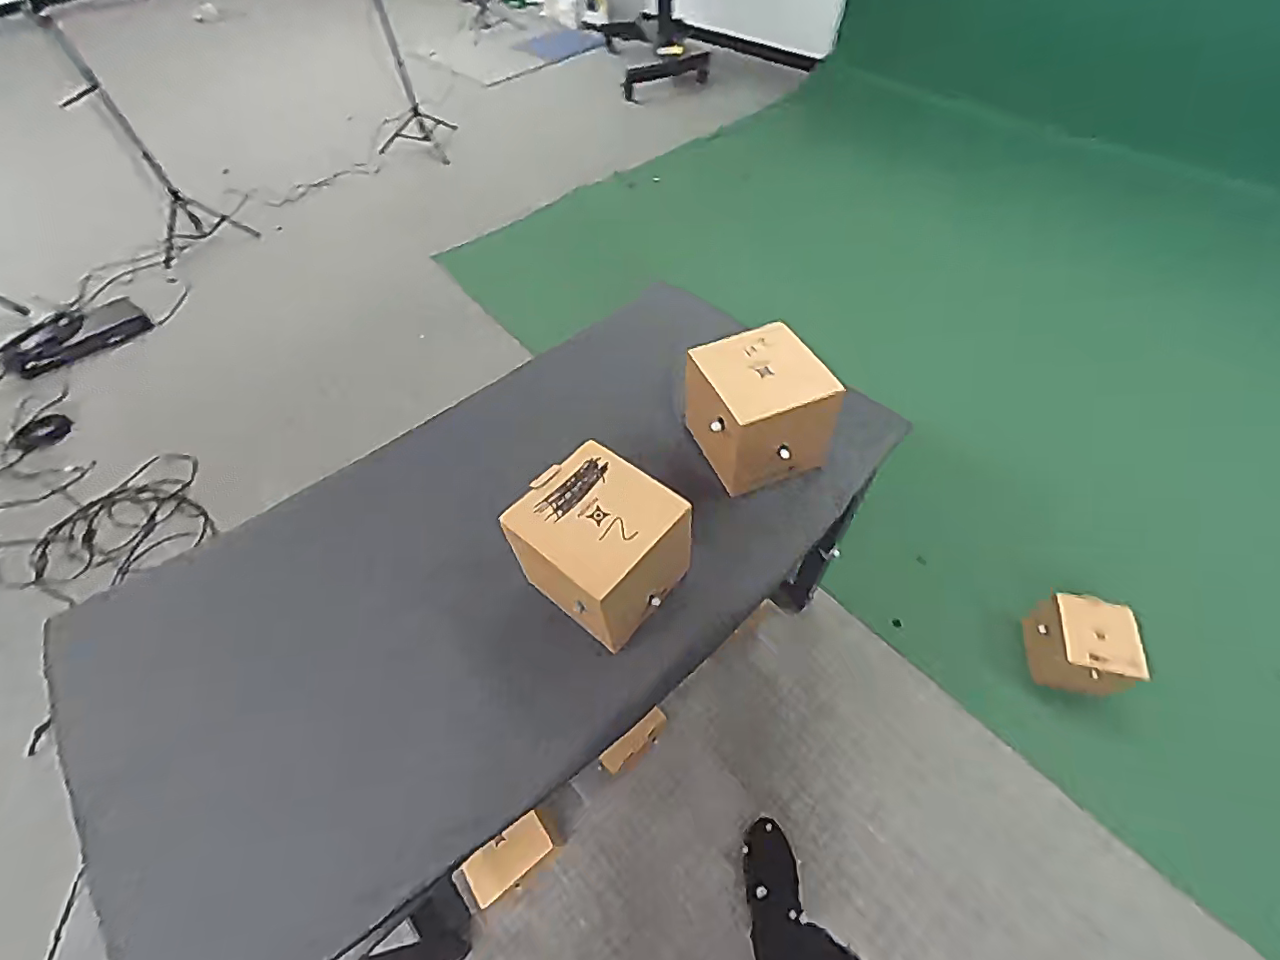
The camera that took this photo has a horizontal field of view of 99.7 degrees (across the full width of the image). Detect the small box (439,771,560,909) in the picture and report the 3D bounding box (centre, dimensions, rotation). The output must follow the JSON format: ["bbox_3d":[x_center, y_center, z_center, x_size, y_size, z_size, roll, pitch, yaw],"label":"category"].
[{"bbox_3d":[-0.289,0.756,1.146,0.168,0.176,0.179,-33,59,-19],"label":"small box"}]

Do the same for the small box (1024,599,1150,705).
[{"bbox_3d":[1.073,0.421,1.319,0.168,0.176,0.179,12,55,11],"label":"small box"}]

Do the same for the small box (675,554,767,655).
[{"bbox_3d":[0.205,0.333,1.421,0.179,0.176,0.168,-24,57,-16],"label":"small box"}]

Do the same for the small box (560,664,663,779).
[{"bbox_3d":[-0.060,0.570,1.266,0.168,0.176,0.179,-39,61,-23],"label":"small box"}]

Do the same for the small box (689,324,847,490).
[{"bbox_3d":[0.185,-0.104,0.835,0.168,0.176,0.179,-18,53,-10],"label":"small box"}]
